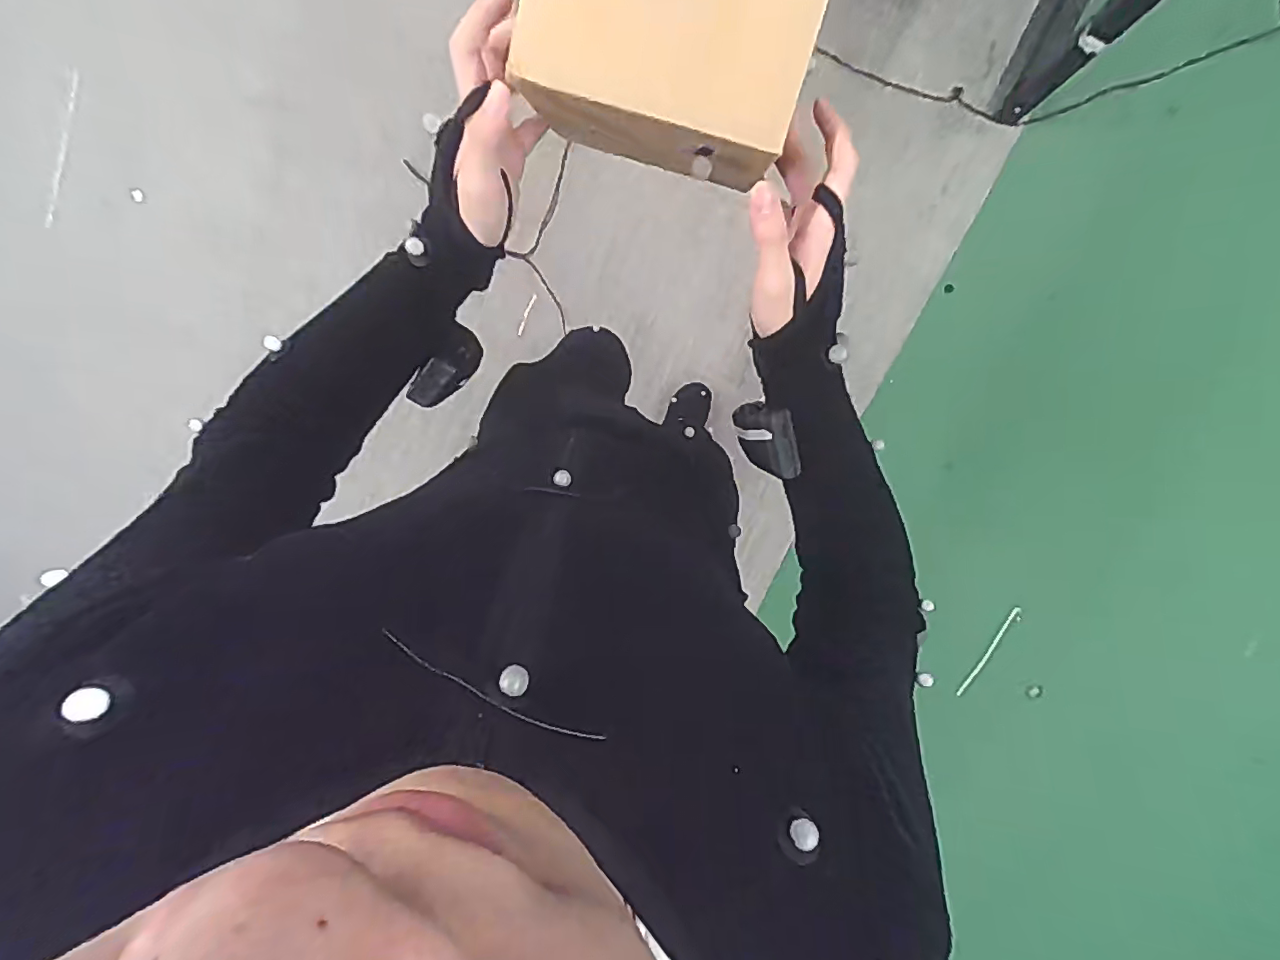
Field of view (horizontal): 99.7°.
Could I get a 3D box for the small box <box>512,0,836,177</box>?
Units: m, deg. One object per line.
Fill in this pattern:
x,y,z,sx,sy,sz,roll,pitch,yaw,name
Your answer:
0.033,-0.325,0.369,0.179,0.176,0.168,16,111,-1,small box
